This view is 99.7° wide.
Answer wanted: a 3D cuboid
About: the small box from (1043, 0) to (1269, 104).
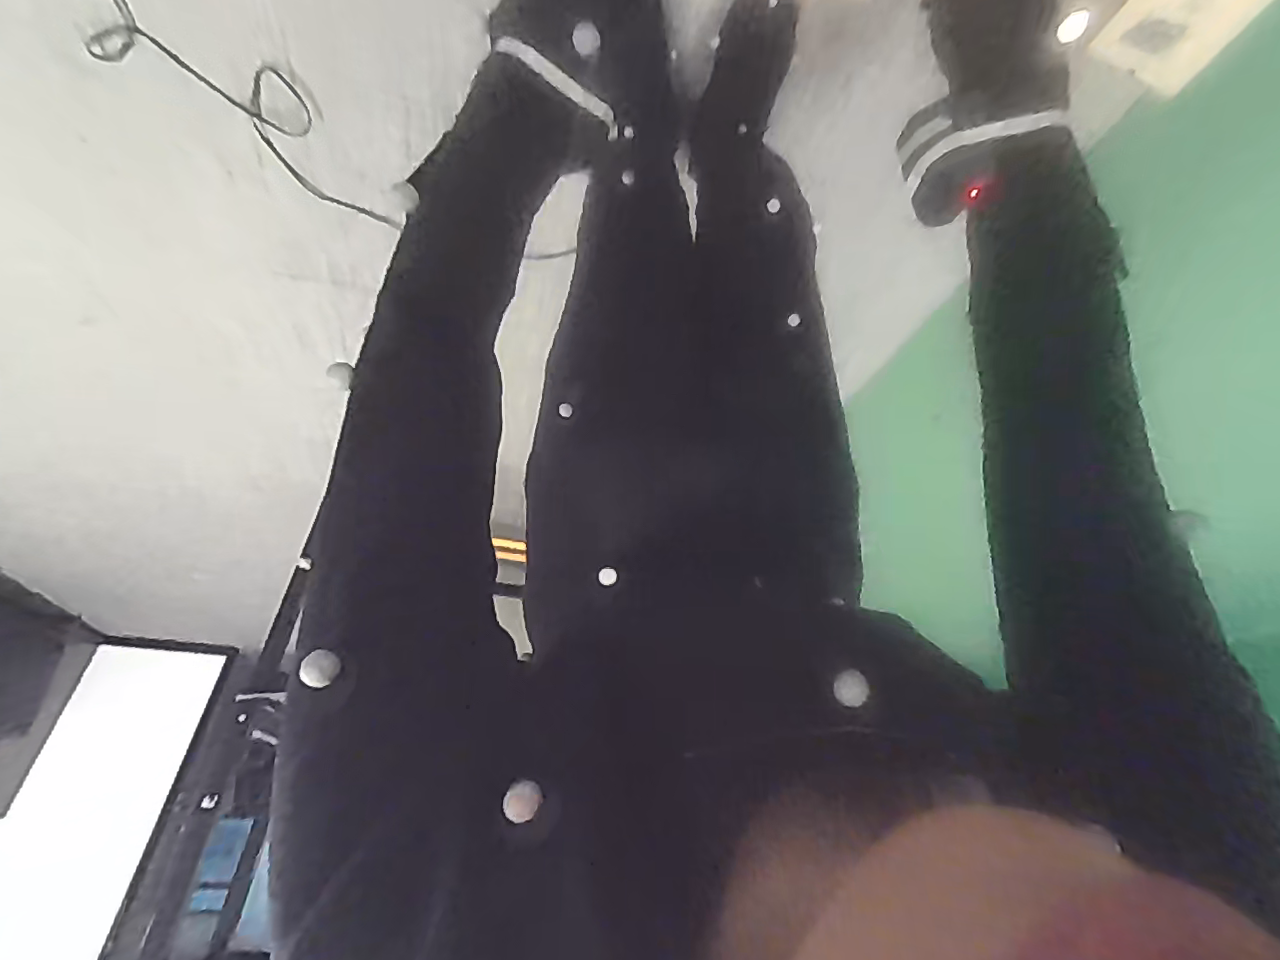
[{"bbox_3d":[0.675,-0.649,0.706,0.168,0.176,0.179,12,145,-15],"label":"small box"}]
